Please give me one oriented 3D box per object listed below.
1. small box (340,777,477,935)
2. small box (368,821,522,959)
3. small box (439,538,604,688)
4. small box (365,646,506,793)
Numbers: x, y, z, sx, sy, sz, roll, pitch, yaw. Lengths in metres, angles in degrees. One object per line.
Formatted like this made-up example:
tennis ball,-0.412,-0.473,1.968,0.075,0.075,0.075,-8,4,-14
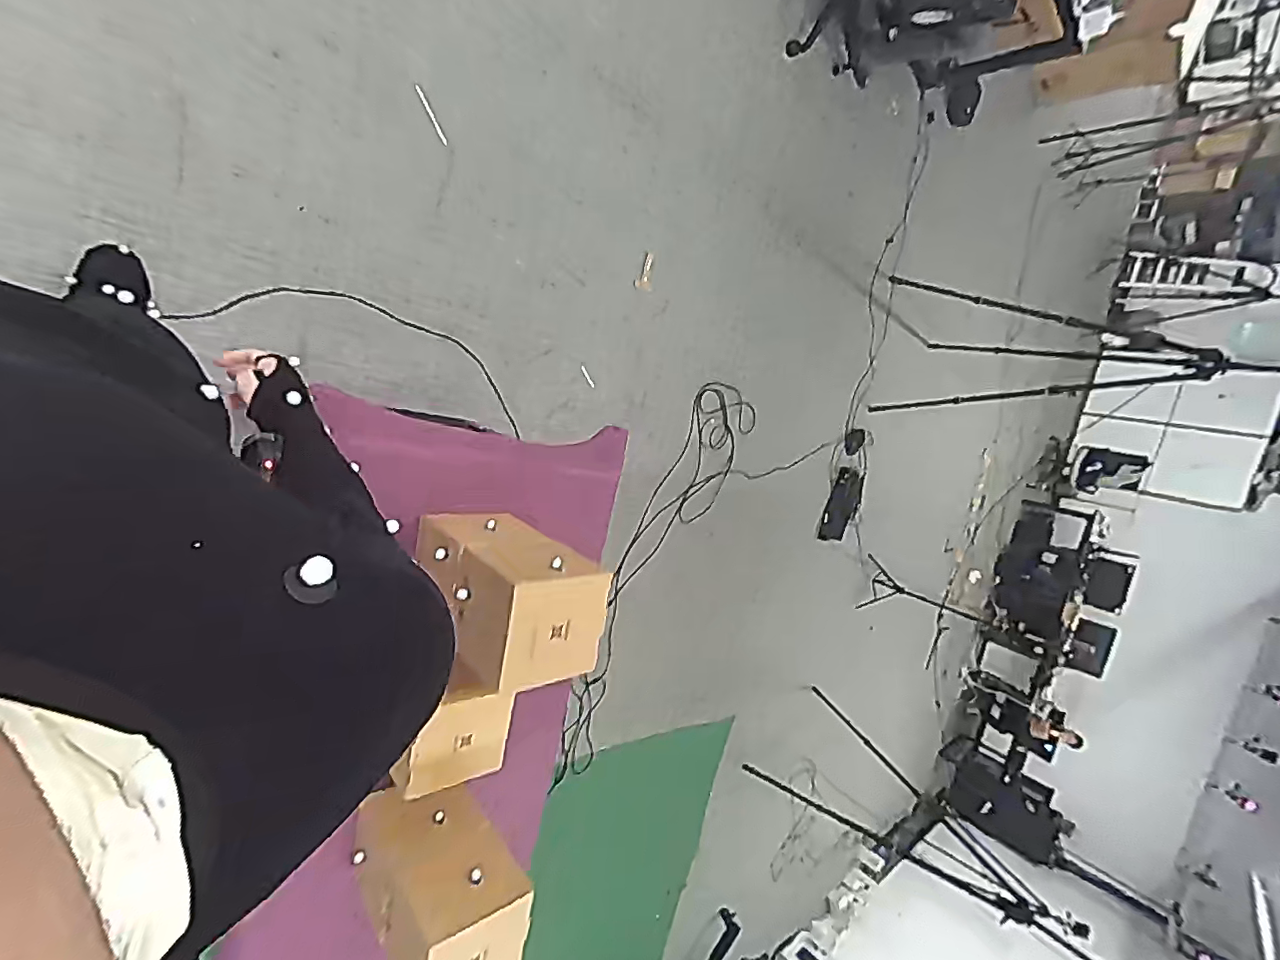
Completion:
small box,-0.437,0.677,1.016,0.179,0.176,0.168,3,102,-44
small box,-0.326,0.718,0.902,0.179,0.176,0.168,2,102,-45
small box,-0.187,0.193,0.849,0.179,0.176,0.168,4,102,-45
small box,-0.376,0.420,0.987,0.179,0.176,0.168,5,101,-44
